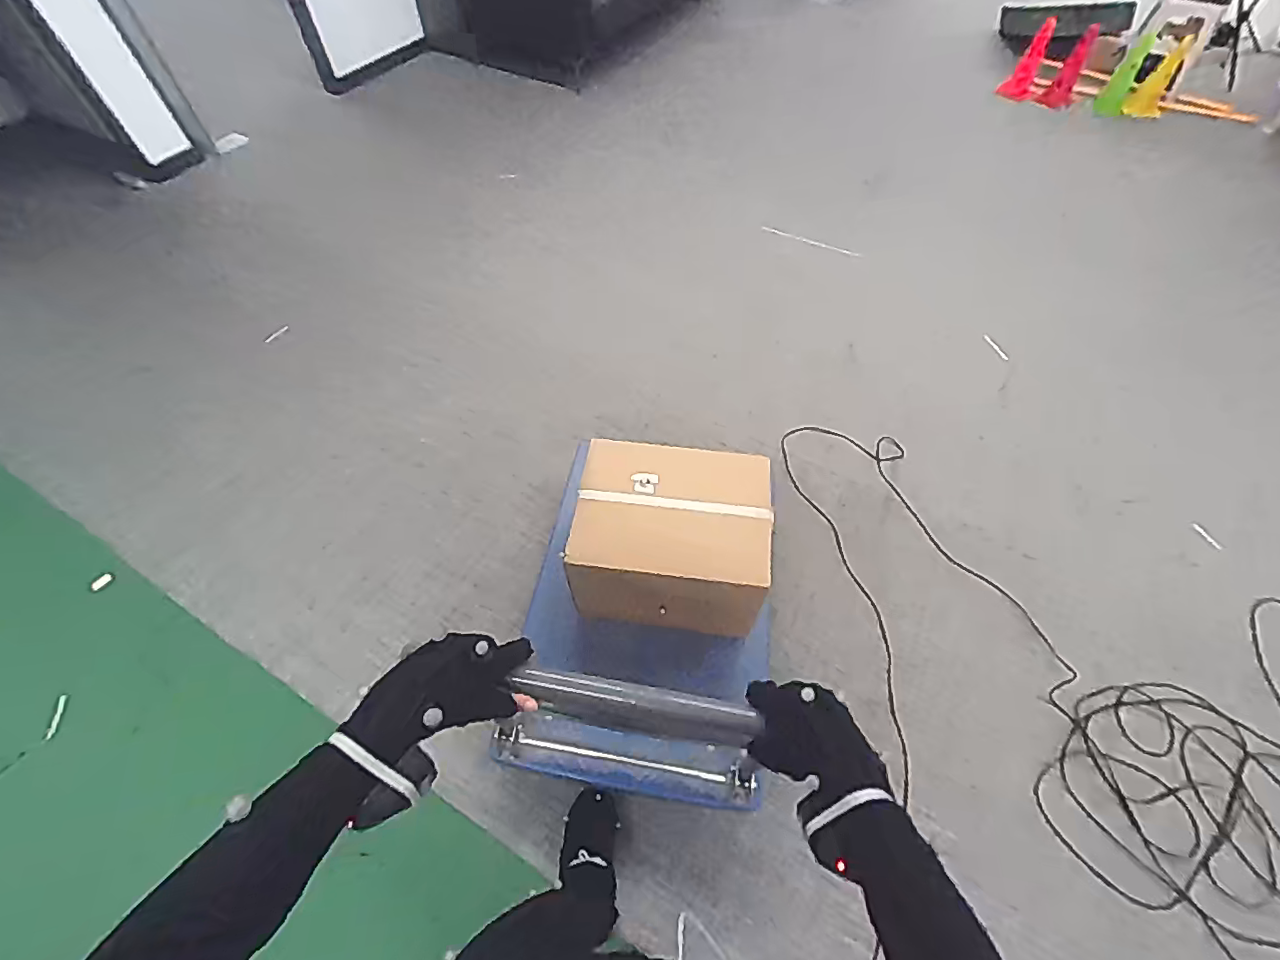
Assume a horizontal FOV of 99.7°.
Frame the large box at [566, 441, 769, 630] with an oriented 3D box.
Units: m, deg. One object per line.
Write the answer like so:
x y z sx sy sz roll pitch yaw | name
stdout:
0.071 0.136 1.253 0.408 0.320 0.320 6 56 4 | large box
